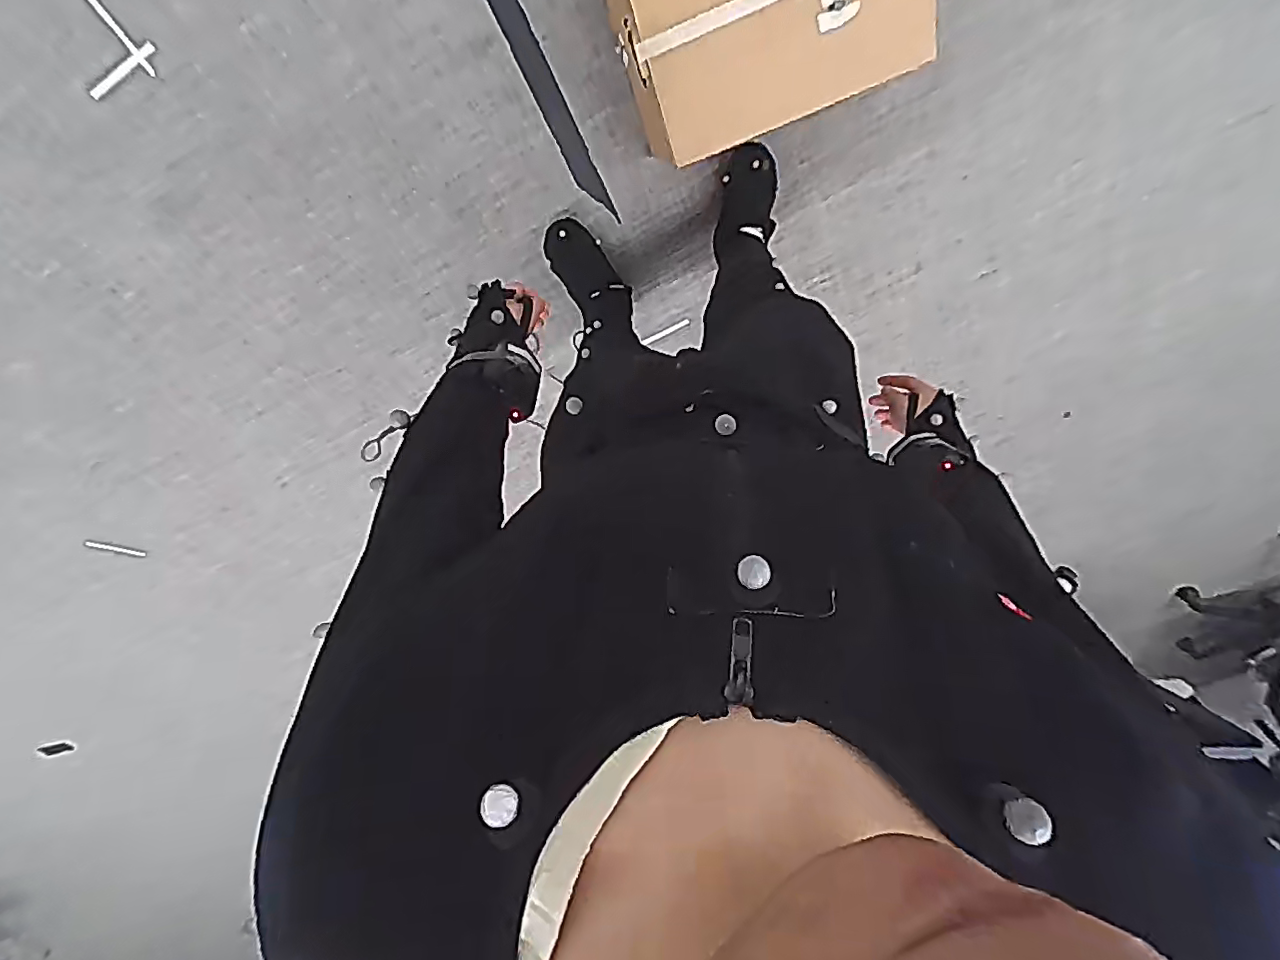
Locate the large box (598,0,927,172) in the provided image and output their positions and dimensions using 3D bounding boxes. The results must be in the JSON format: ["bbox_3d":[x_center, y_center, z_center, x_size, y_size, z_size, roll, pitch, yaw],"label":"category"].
[{"bbox_3d":[0.167,-0.740,0.856,0.408,0.320,0.320,-21,124,6],"label":"large box"}]
